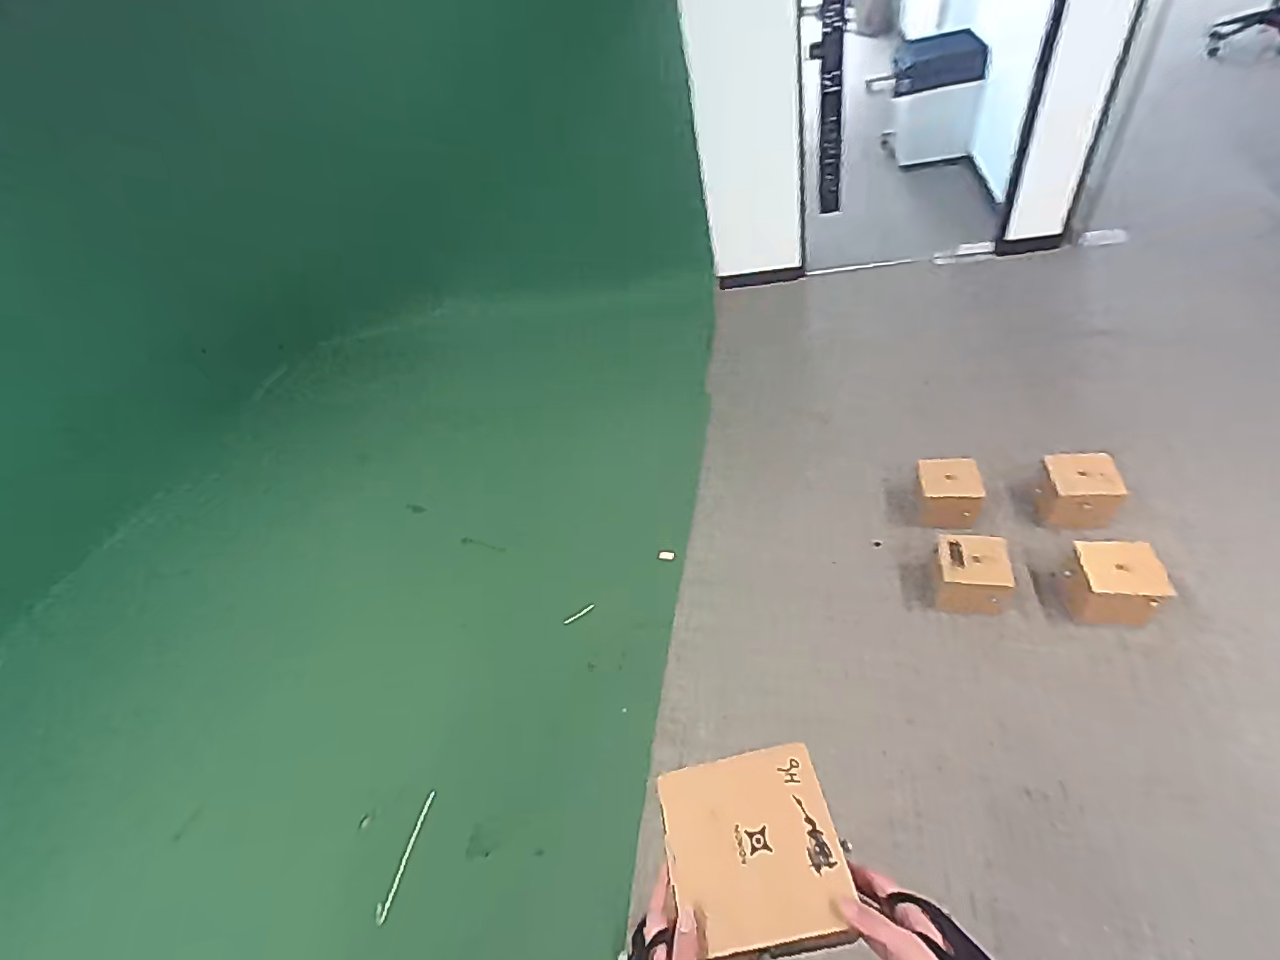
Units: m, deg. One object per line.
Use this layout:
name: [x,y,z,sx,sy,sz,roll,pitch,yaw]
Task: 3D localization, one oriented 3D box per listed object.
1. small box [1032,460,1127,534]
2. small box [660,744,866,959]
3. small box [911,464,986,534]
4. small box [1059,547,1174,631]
small box: [1.354,0.056,1.686,0.179,0.176,0.168,-1,48,16]
small box: [0.132,0.422,0.600,0.179,0.176,0.168,-13,44,5]
small box: [1.012,0.064,1.788,0.179,0.176,0.168,-1,47,17]
small box: [1.288,0.300,1.482,0.179,0.176,0.168,-1,48,16]
